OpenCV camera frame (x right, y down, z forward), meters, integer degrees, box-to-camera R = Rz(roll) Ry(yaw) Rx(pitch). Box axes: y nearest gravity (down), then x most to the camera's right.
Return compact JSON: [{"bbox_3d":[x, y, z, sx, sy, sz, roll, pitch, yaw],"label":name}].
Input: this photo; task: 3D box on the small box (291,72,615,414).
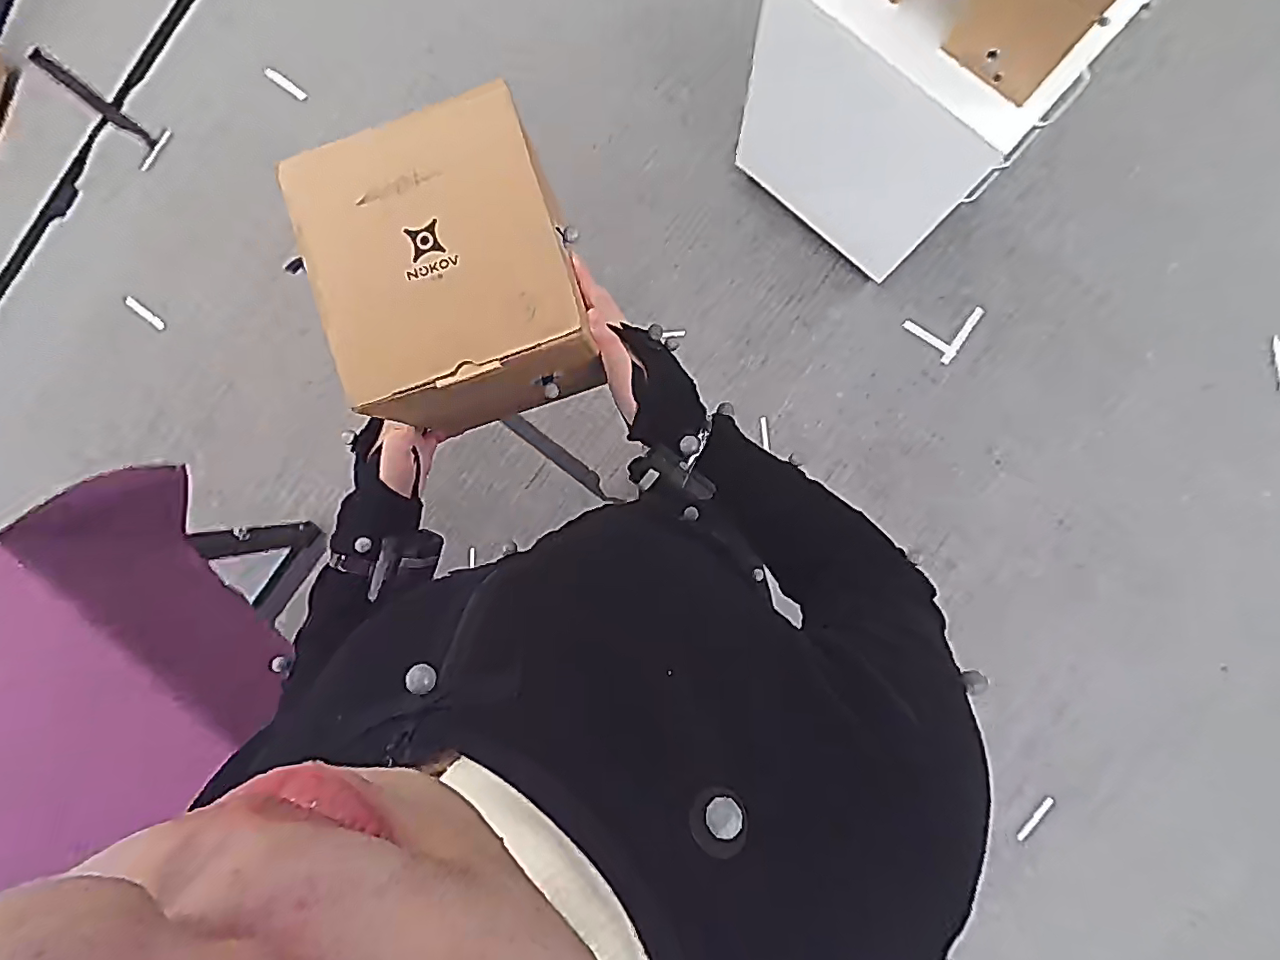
[{"bbox_3d":[-0.125,-0.158,0.431,0.168,0.176,0.179,-17,89,4],"label":"small box"}]
